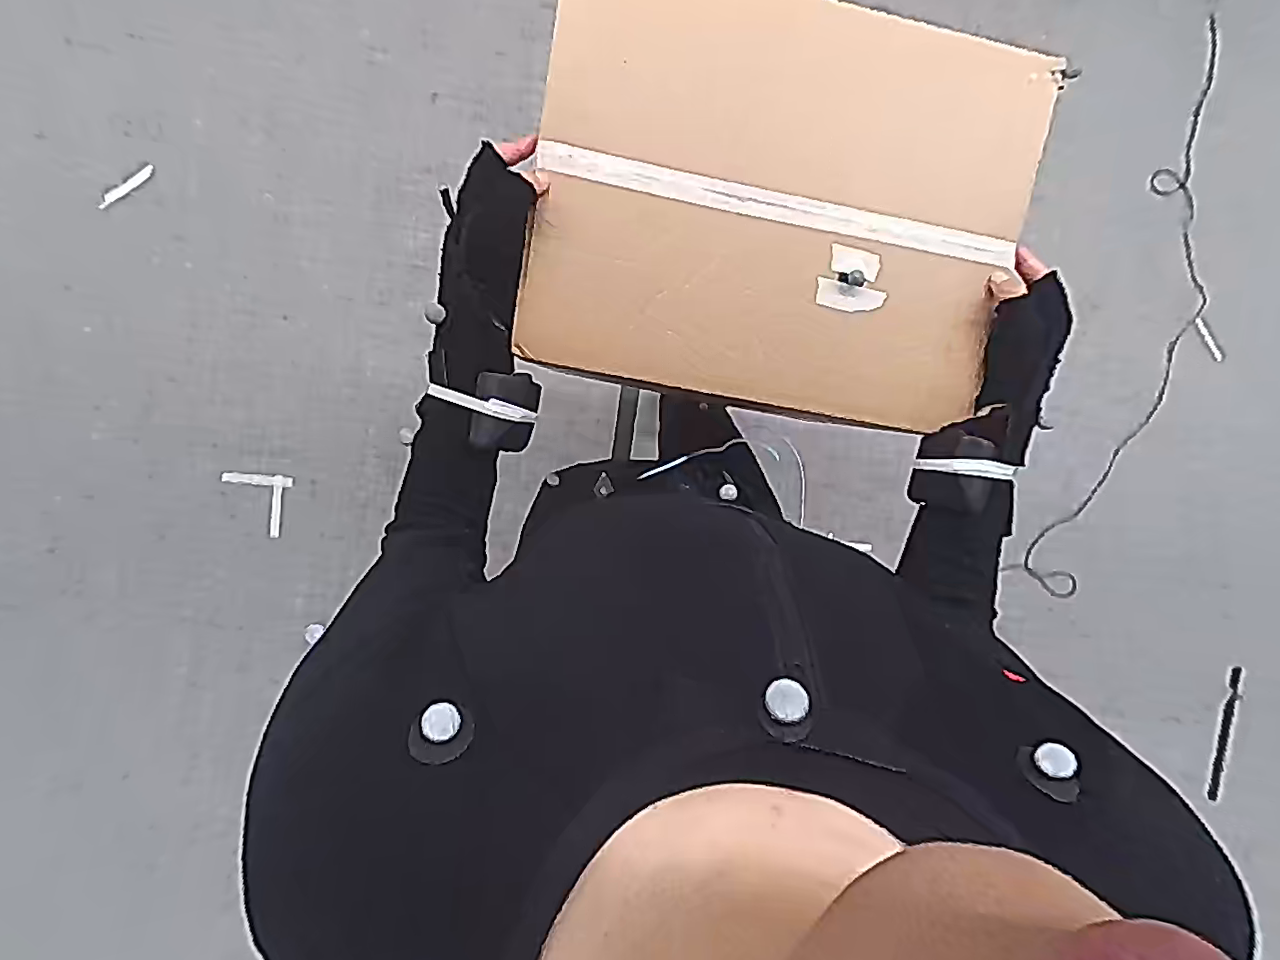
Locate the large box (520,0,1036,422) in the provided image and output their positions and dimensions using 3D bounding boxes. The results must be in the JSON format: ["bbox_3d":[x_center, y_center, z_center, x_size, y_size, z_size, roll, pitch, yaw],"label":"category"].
[{"bbox_3d":[0.102,-0.255,0.602,0.408,0.320,0.320,10,99,-6],"label":"large box"}]
